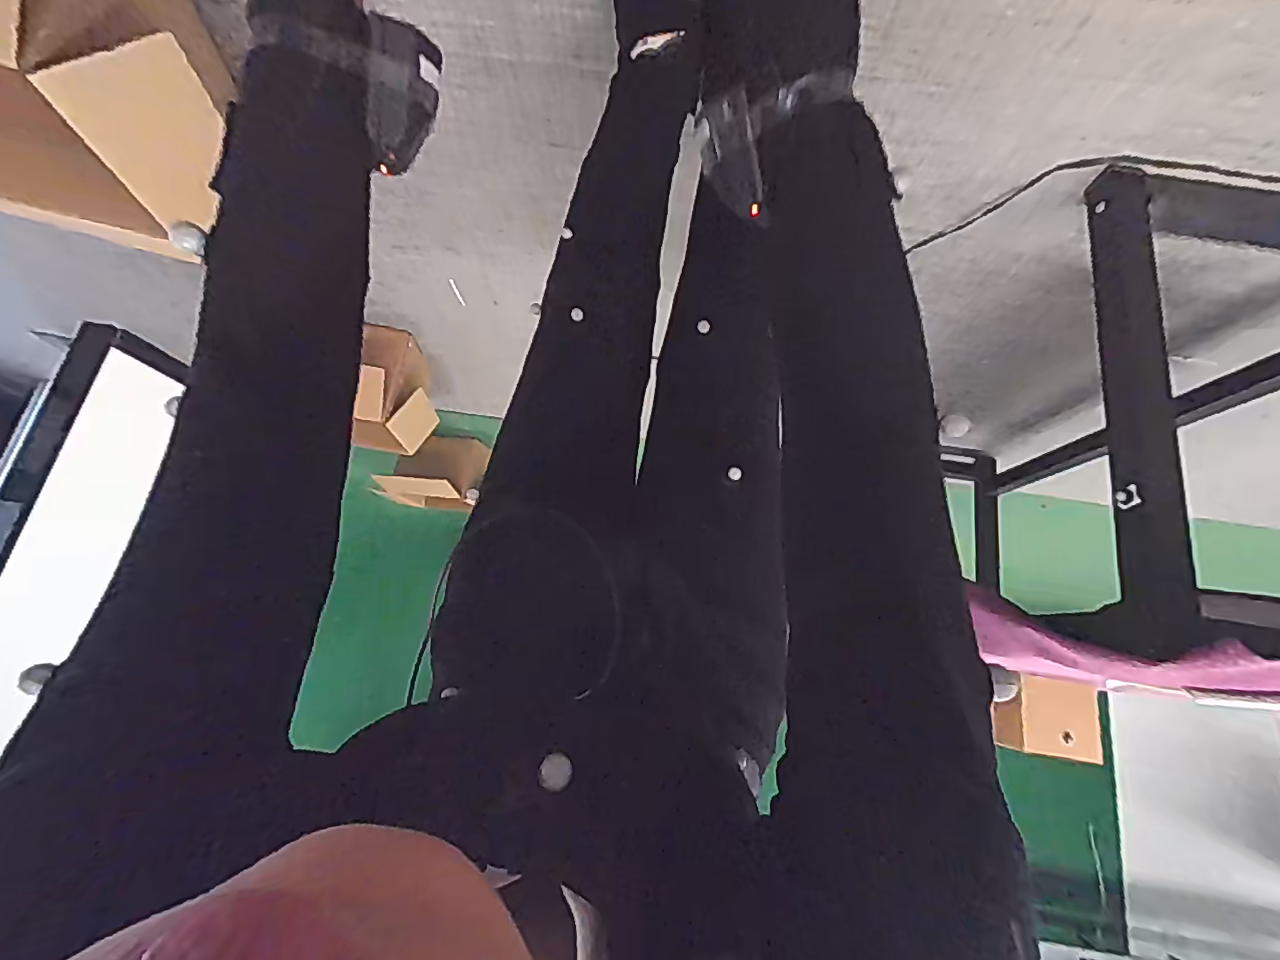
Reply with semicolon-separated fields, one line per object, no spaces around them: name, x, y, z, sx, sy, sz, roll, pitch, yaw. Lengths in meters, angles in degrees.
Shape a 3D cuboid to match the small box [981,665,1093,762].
small box;0.915;0.543;1.275;0.179;0.176;0.168;10;164;0
